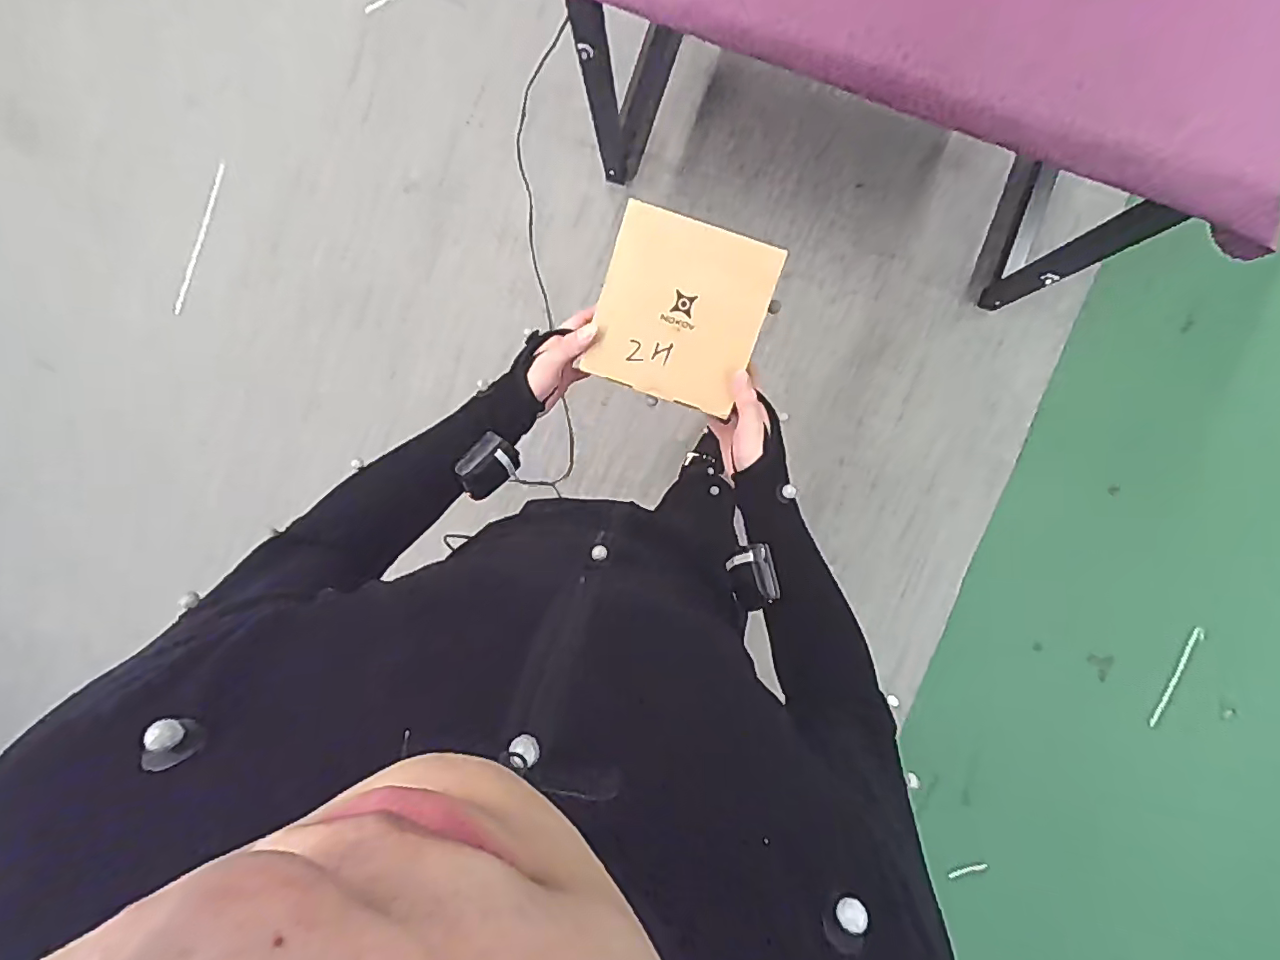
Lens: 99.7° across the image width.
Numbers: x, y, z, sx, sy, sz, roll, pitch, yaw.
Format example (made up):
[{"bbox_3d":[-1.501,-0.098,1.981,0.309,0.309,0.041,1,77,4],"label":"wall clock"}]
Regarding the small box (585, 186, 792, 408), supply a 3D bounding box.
[{"bbox_3d":[0.049,-0.194,0.617,0.168,0.176,0.179,19,101,-1],"label":"small box"}]
